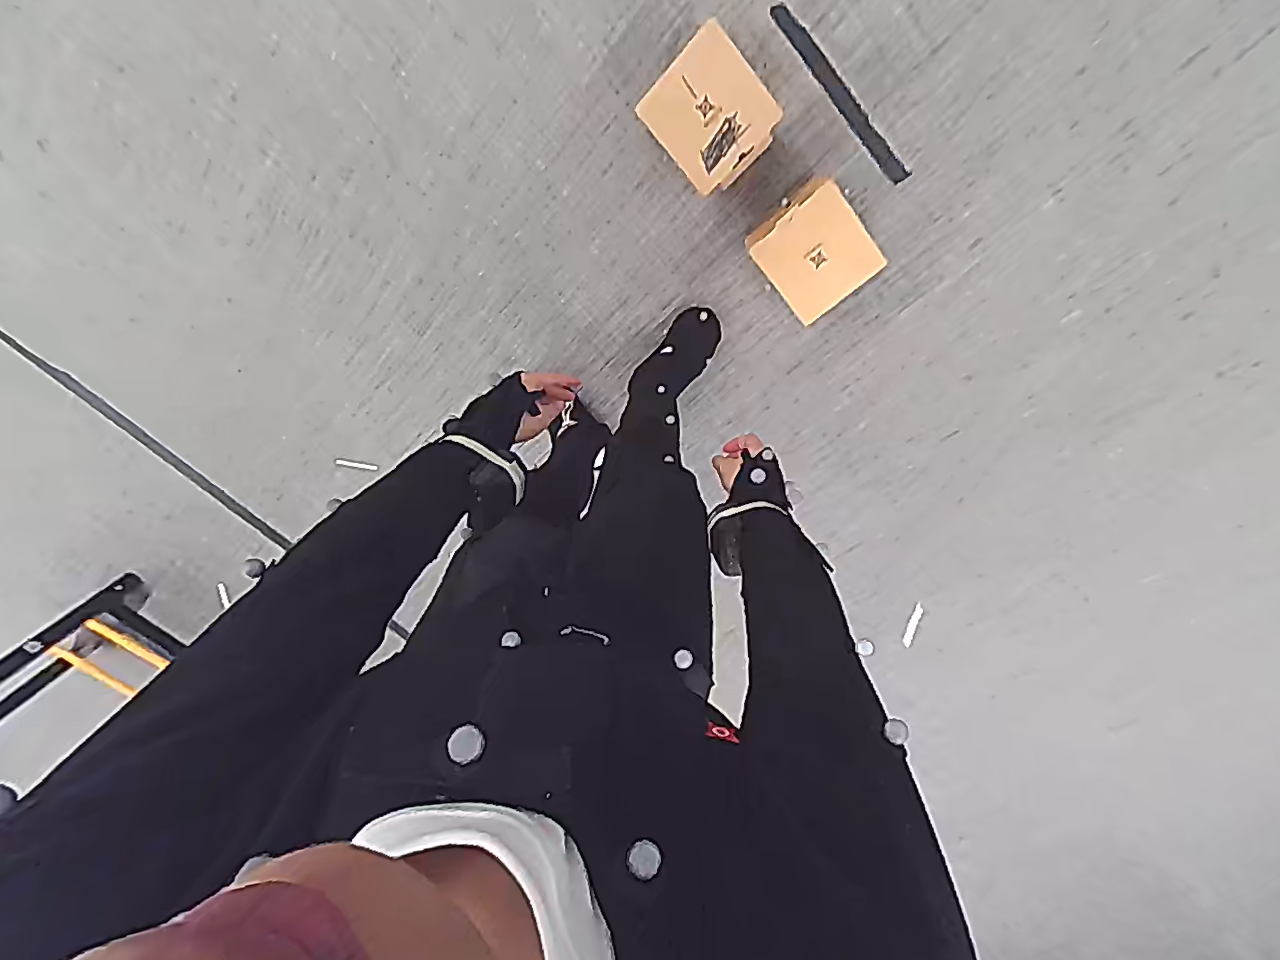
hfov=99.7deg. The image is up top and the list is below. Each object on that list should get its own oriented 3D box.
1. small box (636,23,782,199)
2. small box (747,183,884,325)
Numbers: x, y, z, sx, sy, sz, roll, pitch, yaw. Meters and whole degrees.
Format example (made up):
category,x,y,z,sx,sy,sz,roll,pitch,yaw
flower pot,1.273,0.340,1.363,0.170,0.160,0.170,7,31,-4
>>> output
category,x,y,z,sx,sy,sz,roll,pitch,yaw
small box,0.121,-0.615,0.922,0.168,0.176,0.179,-37,106,26
small box,0.316,-0.423,1.000,0.168,0.176,0.179,-36,107,26
